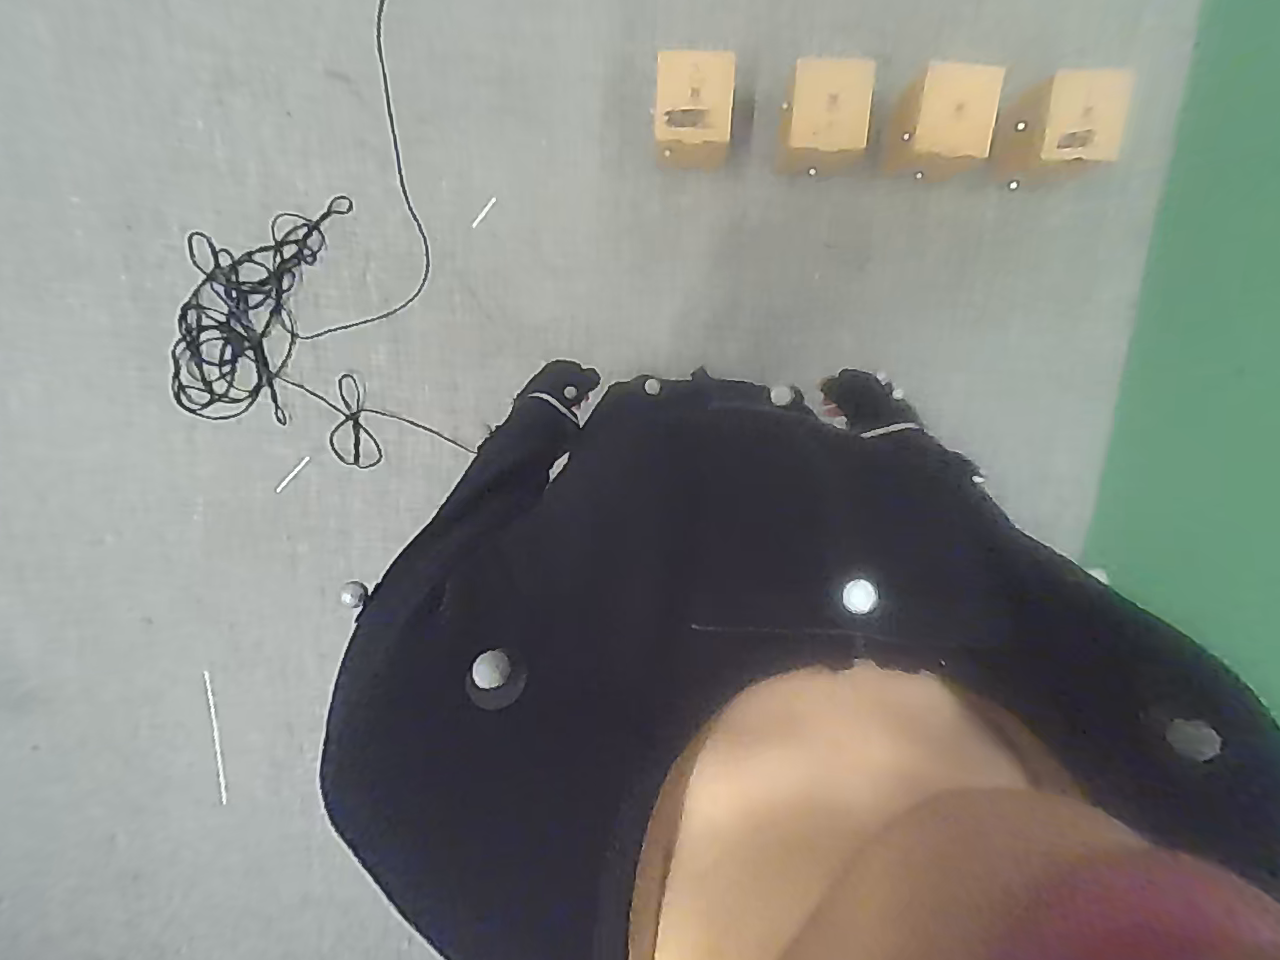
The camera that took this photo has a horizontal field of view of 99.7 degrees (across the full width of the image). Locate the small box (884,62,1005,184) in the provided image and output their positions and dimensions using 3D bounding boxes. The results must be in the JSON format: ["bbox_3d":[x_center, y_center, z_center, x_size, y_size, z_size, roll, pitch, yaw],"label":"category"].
[{"bbox_3d":[0.679,-0.801,1.227,0.168,0.176,0.179,5,102,0],"label":"small box"}]

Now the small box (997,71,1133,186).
[{"bbox_3d":[0.948,-0.784,1.223,0.168,0.176,0.179,2,101,1],"label":"small box"}]

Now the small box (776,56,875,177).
[{"bbox_3d":[0.411,-0.815,1.227,0.168,0.176,0.179,3,102,2],"label":"small box"}]
